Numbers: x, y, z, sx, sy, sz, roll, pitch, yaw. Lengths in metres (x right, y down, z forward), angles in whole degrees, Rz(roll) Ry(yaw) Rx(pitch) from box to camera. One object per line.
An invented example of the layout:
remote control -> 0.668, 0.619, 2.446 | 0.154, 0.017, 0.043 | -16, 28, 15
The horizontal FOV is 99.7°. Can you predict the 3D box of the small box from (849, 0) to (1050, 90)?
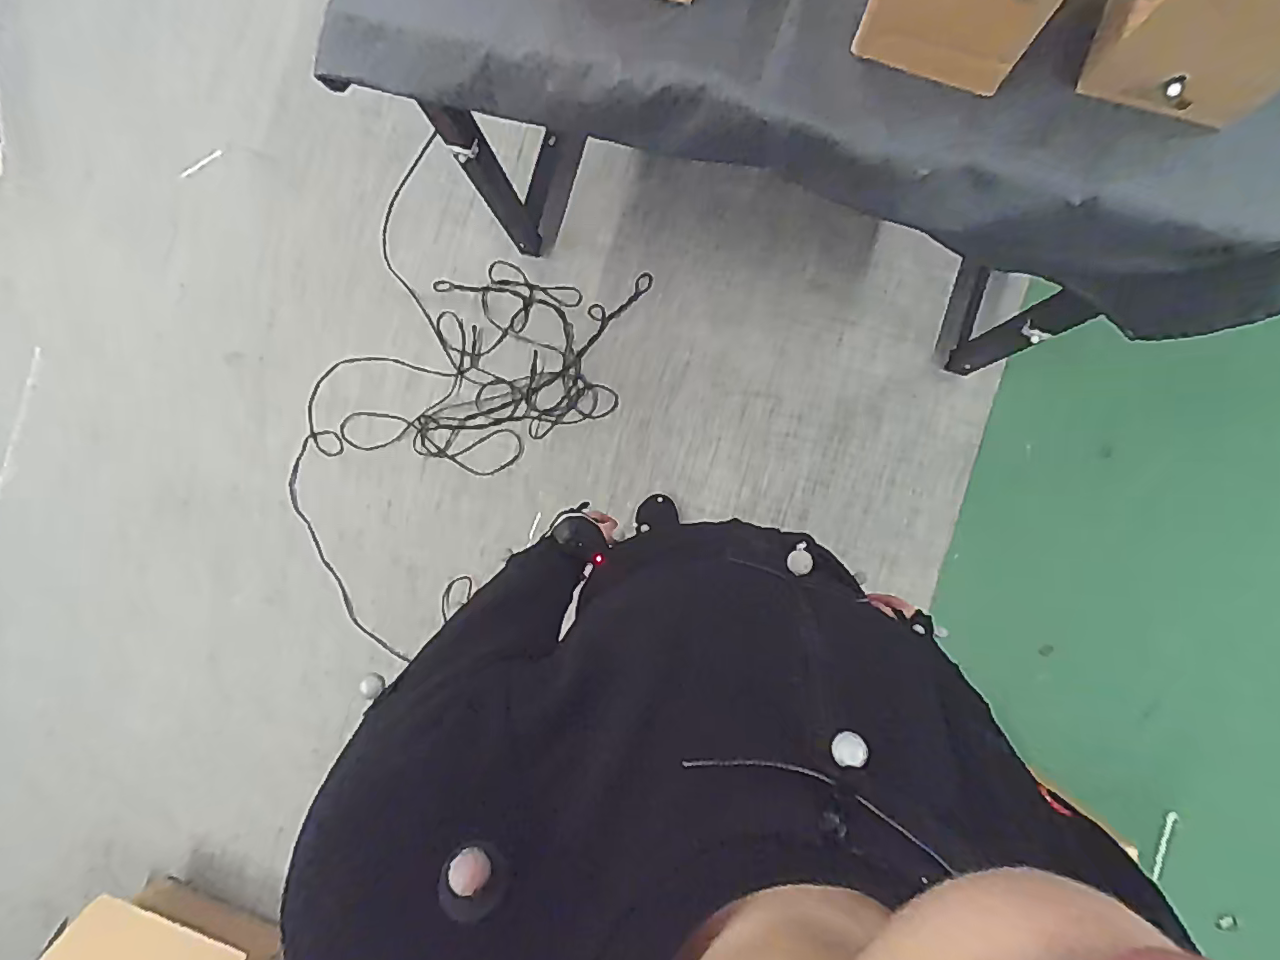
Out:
small box -> 0.344, -0.553, 0.557 | 0.179, 0.176, 0.168 | 22, 89, 4
